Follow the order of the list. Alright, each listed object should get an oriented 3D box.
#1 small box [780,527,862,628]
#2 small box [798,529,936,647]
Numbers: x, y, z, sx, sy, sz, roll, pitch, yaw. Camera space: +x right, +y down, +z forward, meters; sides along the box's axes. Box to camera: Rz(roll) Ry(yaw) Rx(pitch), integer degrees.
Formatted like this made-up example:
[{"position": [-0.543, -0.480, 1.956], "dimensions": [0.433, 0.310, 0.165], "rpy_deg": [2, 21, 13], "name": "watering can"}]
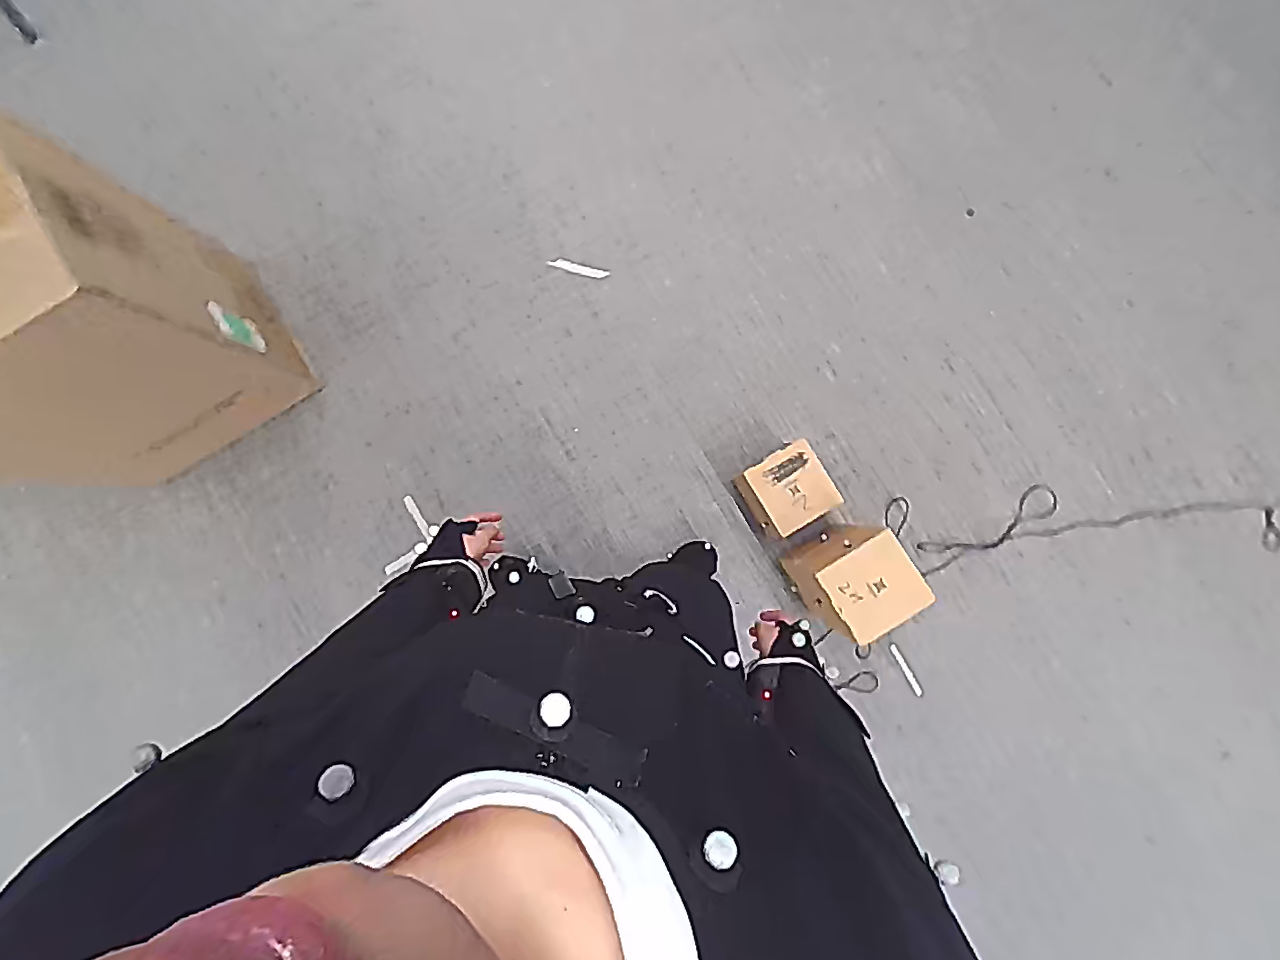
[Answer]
[{"position": [0.459, 0.220, 1.281], "dimensions": [0.179, 0.176, 0.168], "rpy_deg": [-30, 86, 0], "name": "small box"}, {"position": [0.456, 0.211, 1.116], "dimensions": [0.179, 0.176, 0.168], "rpy_deg": [-32, 86, 0], "name": "small box"}]
